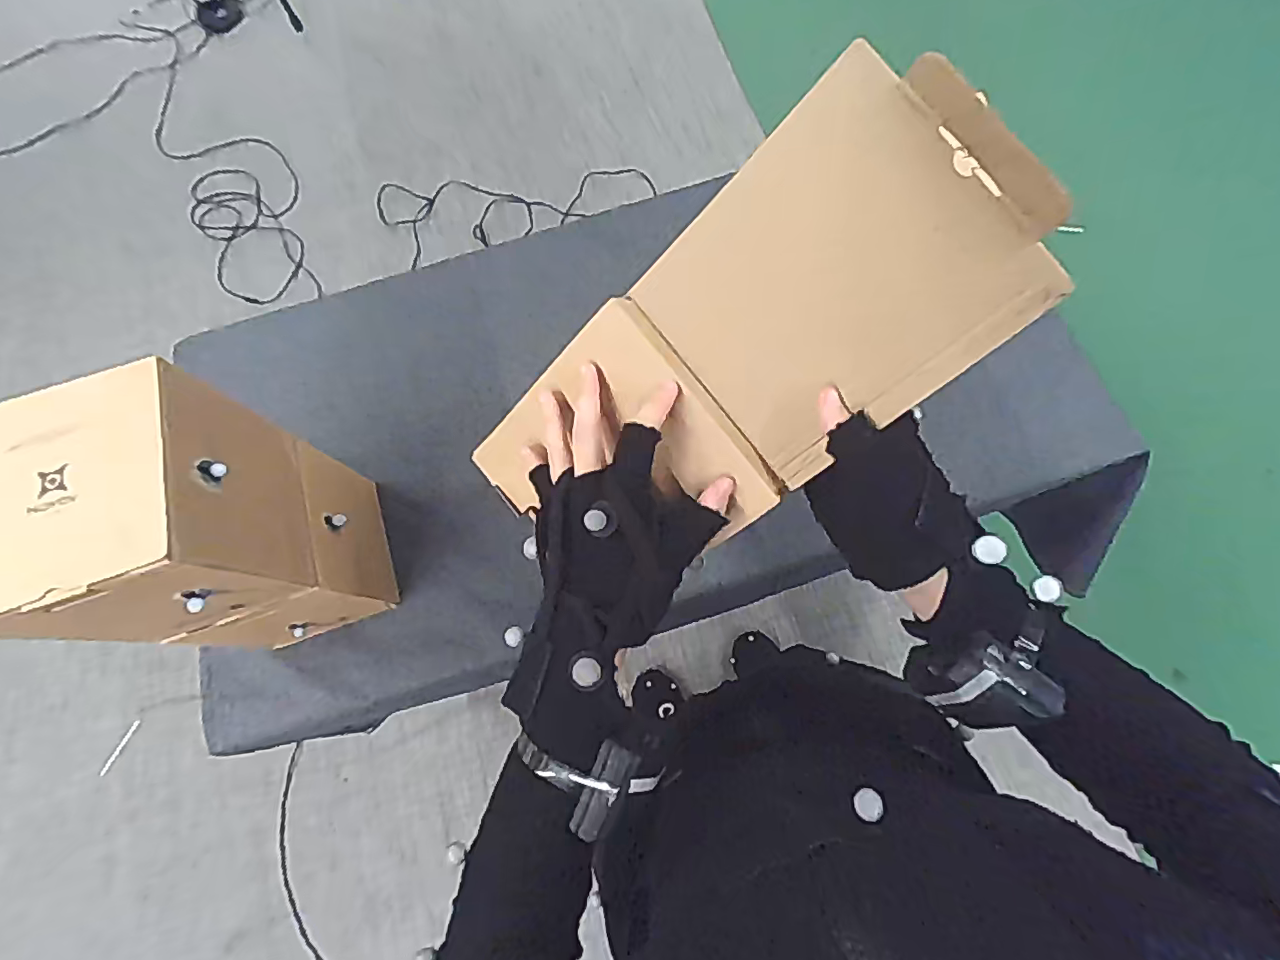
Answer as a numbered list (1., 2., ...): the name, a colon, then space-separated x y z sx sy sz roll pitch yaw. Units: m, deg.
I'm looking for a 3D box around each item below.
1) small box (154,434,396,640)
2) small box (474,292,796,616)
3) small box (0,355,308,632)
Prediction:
1. small box: -0.413 0.076 0.628 0.168 0.176 0.179 -20 72 -3
2. small box: 0.009 -0.027 0.446 0.179 0.176 0.168 -40 89 24
3. small box: -0.424 0.026 0.473 0.168 0.176 0.179 -18 72 -3
